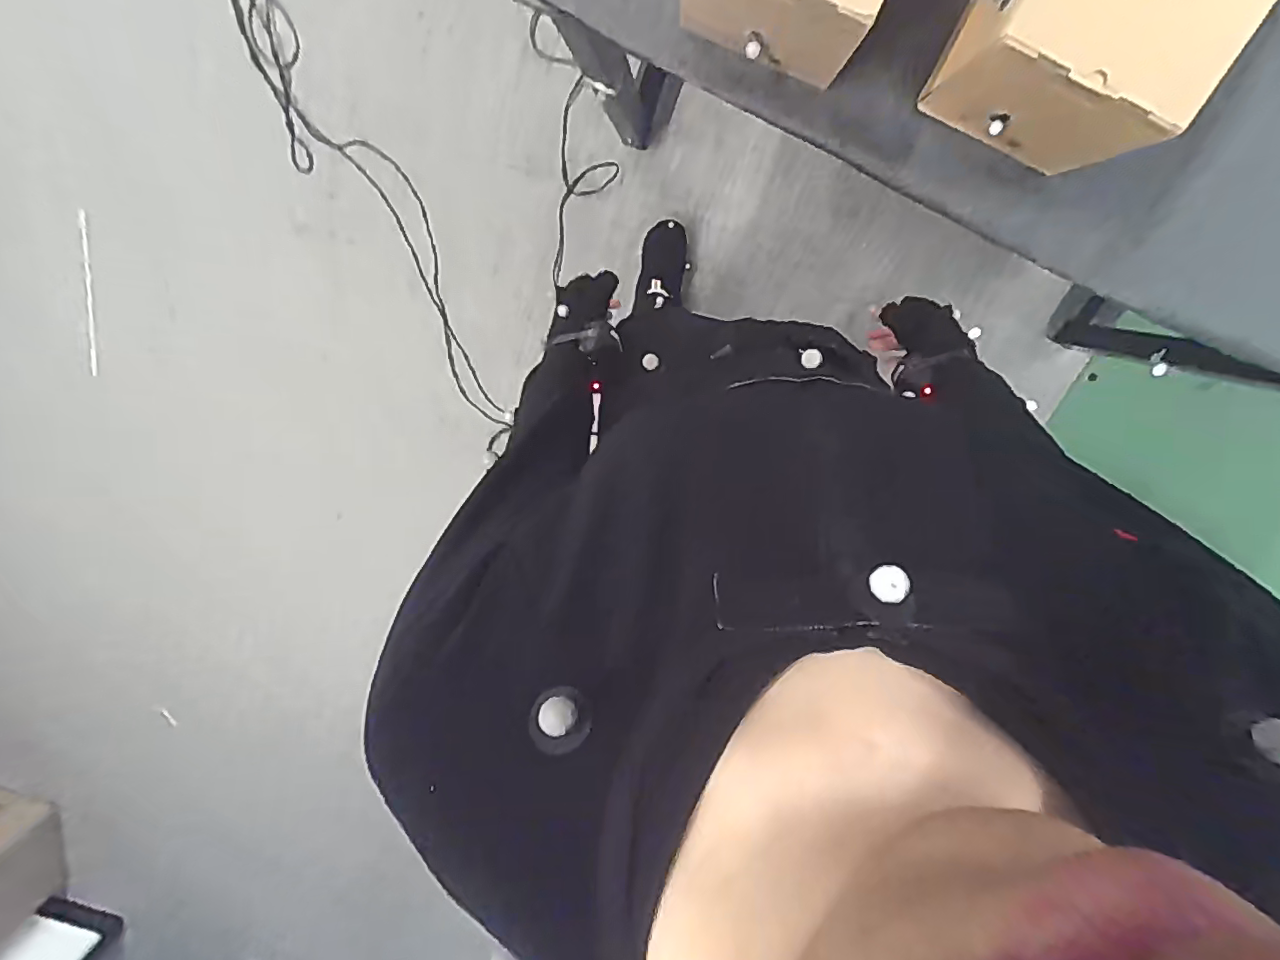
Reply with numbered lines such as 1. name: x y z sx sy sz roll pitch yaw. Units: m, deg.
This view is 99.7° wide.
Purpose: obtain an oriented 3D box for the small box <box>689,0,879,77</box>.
1. small box: 0.142 -0.489 0.454 0.168 0.176 0.179 22 112 -2
